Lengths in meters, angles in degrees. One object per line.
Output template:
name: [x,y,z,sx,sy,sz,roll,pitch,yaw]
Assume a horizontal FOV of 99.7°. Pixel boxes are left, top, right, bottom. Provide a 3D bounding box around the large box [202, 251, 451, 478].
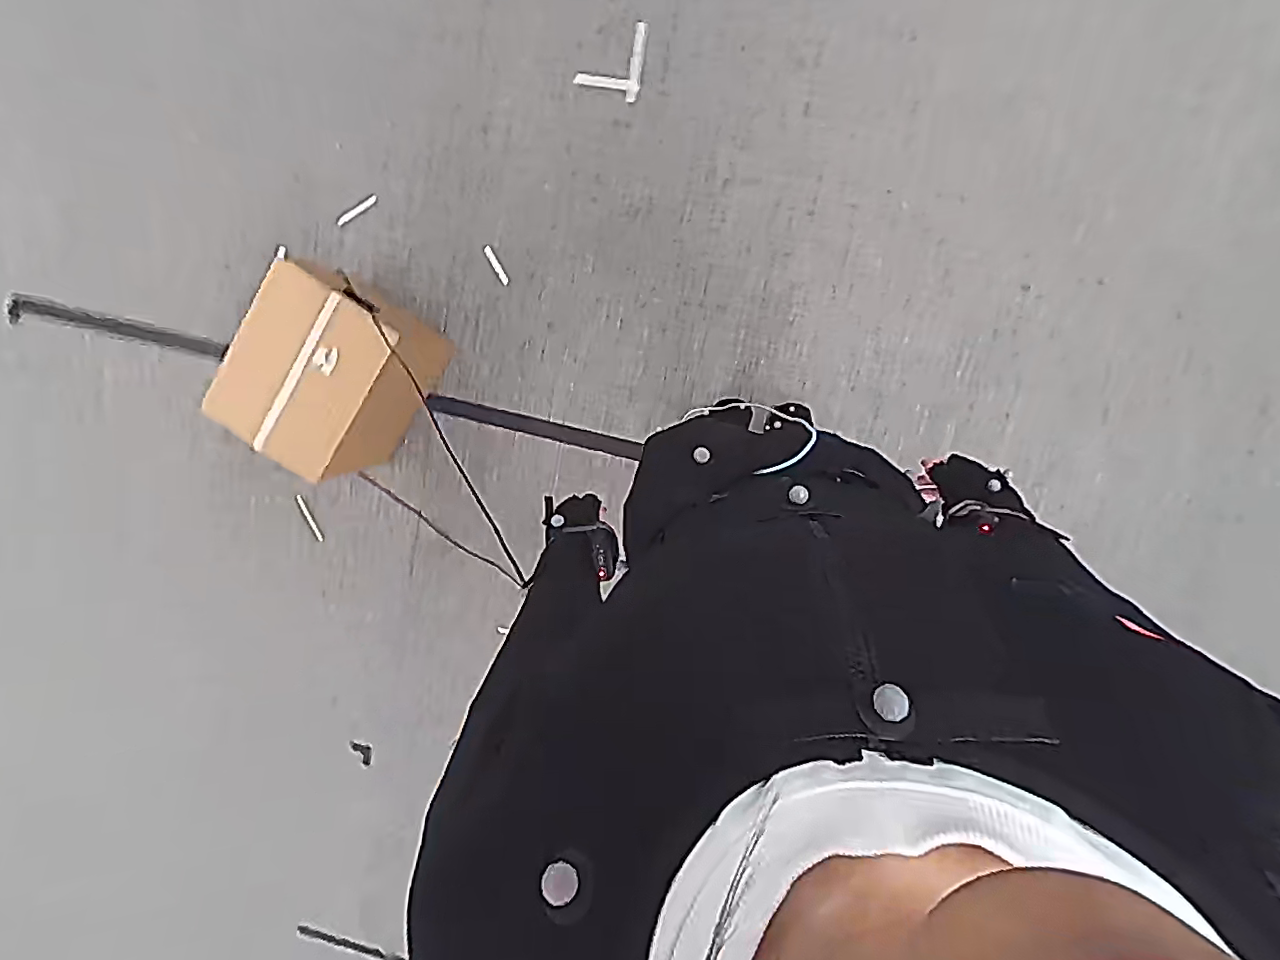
large box: [-0.747,-0.267,1.337,0.320,0.320,0.408,35,99,-3]
